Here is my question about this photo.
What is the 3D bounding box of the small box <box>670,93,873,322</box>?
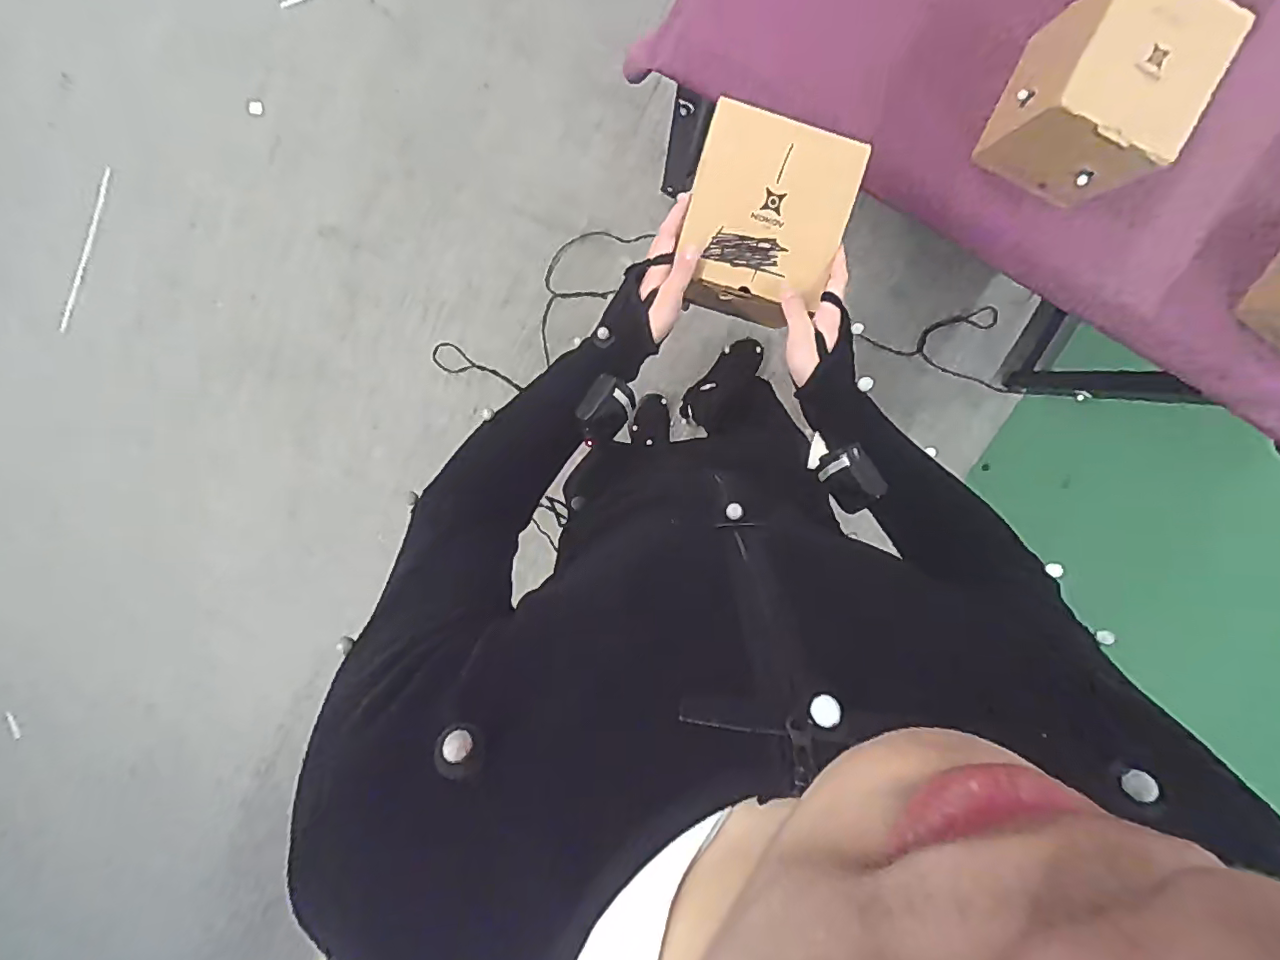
[{"bbox_3d":[0.135,-0.294,0.631,0.168,0.176,0.179,16,100,-3],"label":"small box"}]

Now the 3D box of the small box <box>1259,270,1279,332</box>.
[{"bbox_3d":[1.027,-0.266,0.733,0.168,0.176,0.179,32,99,-6],"label":"small box"}]

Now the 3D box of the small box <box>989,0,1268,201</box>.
[{"bbox_3d":[0.595,-0.492,0.690,0.168,0.176,0.179,24,100,-5],"label":"small box"}]
